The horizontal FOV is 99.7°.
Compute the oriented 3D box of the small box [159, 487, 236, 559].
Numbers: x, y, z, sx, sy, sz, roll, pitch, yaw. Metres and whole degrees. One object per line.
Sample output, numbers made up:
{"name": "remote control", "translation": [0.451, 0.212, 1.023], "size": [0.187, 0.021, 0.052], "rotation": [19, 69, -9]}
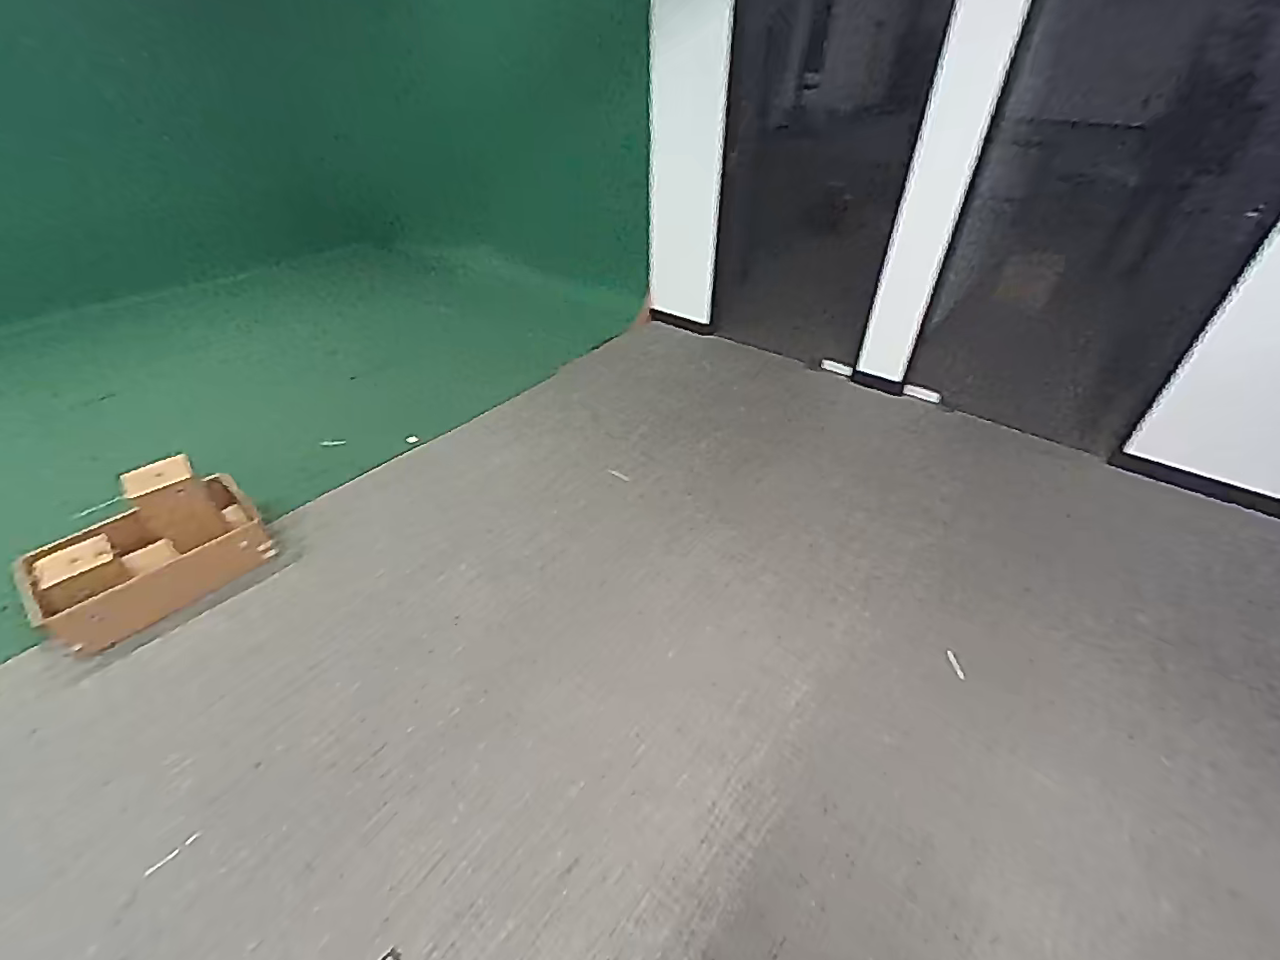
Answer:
{"name": "small box", "translation": [-1.600, 0.150, 1.946], "size": [0.168, 0.176, 0.179], "rotation": [-30, 50, -30]}

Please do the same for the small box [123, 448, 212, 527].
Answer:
{"name": "small box", "translation": [-1.595, 0.027, 1.837], "size": [0.179, 0.176, 0.168], "rotation": [-29, 48, -30]}
